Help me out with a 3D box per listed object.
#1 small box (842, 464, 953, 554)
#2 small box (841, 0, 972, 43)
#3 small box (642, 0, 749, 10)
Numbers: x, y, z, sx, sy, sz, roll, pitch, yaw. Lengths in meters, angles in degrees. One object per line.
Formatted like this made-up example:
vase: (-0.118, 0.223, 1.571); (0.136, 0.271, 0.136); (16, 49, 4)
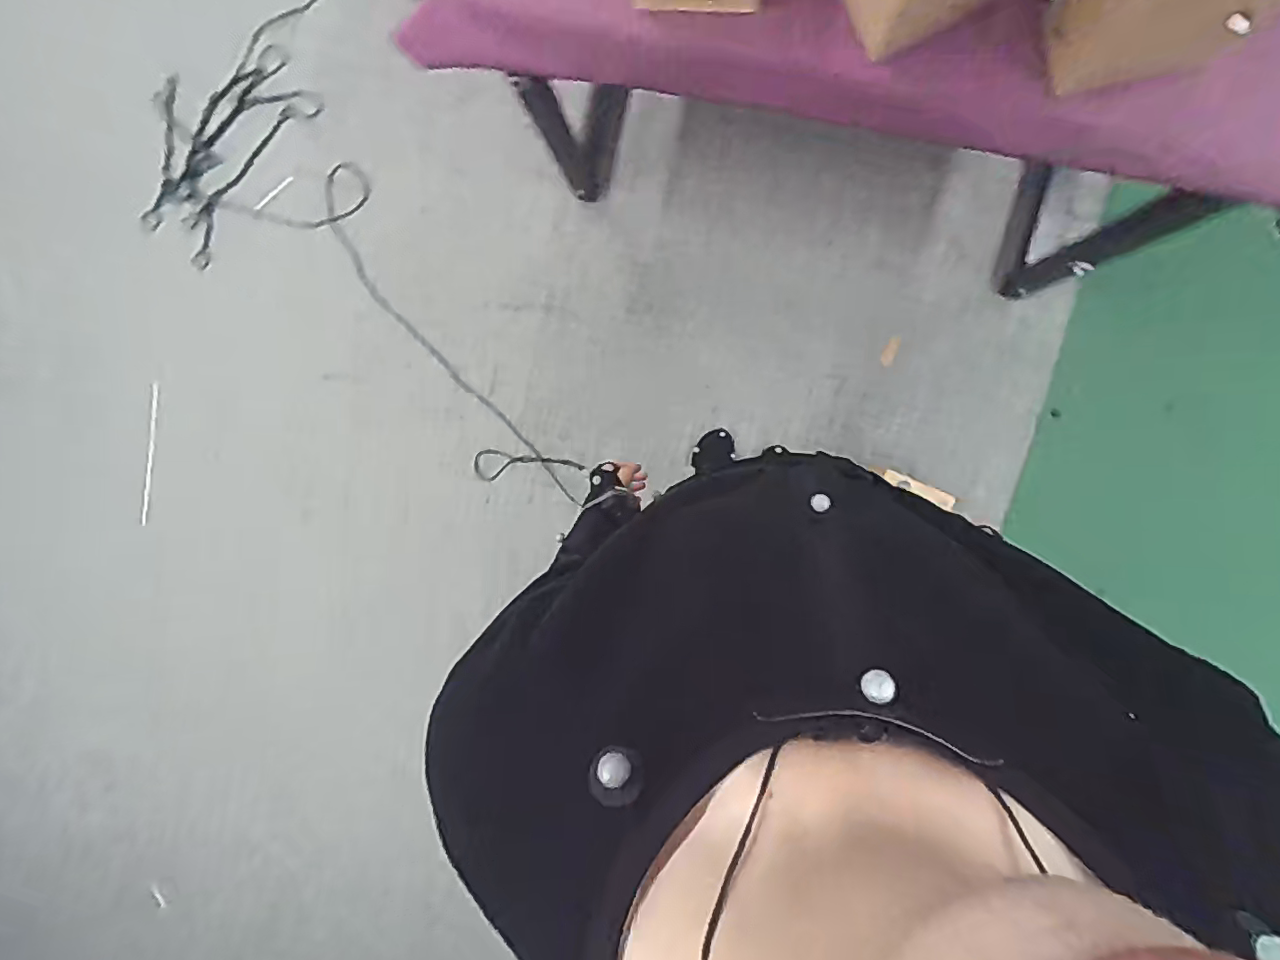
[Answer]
small box: (0.641, 0.065, 1.371); (0.179, 0.176, 0.168); (24, 98, 5)
small box: (0.321, -0.647, 0.607); (0.168, 0.176, 0.179); (-25, 91, 8)
small box: (0.064, -0.704, 0.635); (0.168, 0.176, 0.179); (7, 94, 6)
